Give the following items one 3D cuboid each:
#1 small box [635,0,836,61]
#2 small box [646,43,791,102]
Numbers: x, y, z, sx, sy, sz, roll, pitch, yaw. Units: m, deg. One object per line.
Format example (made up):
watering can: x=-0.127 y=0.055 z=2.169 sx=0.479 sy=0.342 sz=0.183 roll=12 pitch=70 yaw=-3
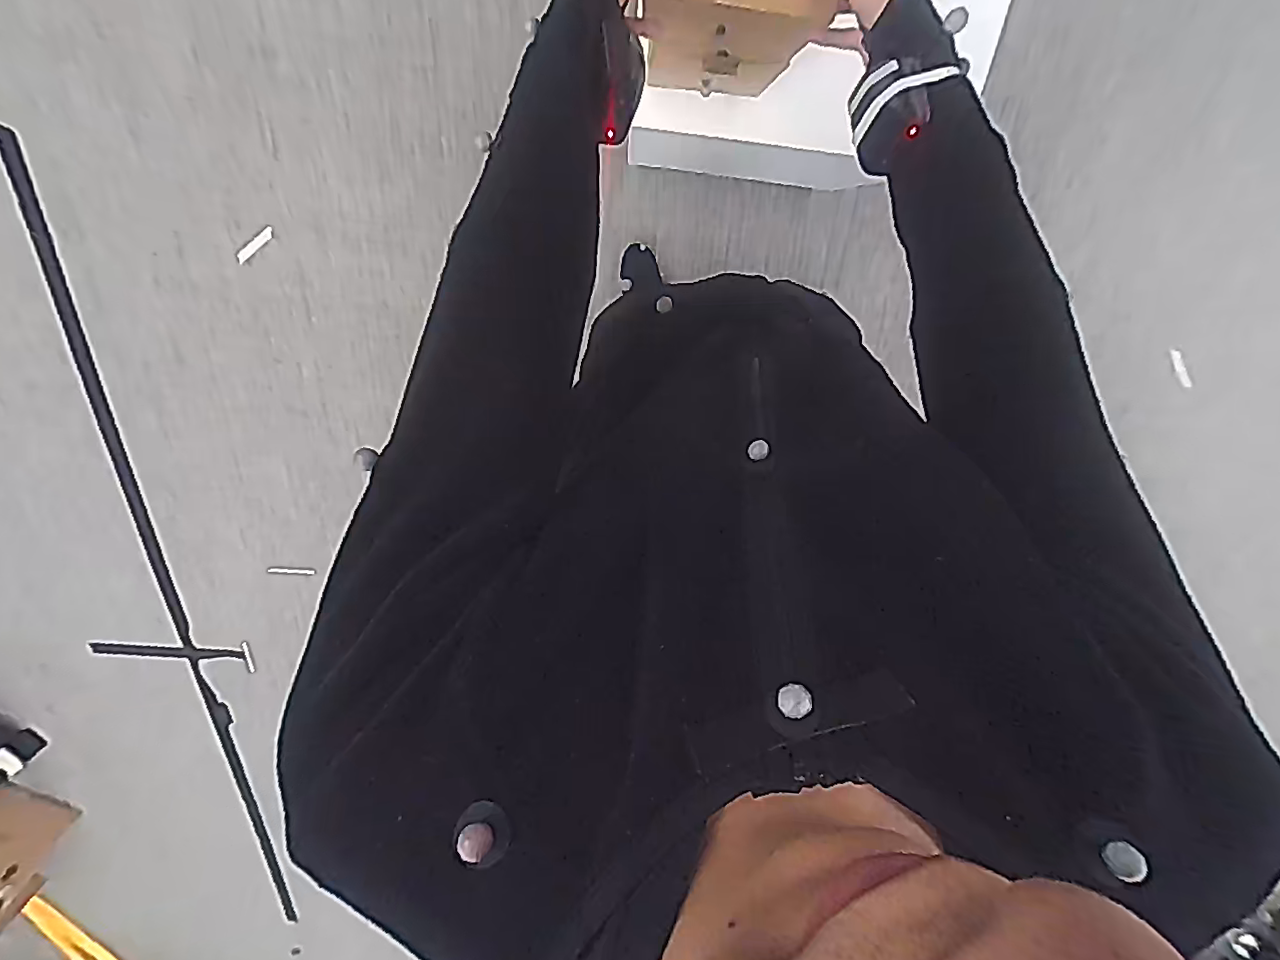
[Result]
small box: x=0.093 y=-0.515 z=0.506 sx=0.179 sy=0.176 sz=0.168 roll=7 pitch=119 yaw=-1
small box: x=0.097 y=-0.594 z=0.663 sx=0.168 sy=0.176 sz=0.179 roll=4 pitch=115 yaw=-3
